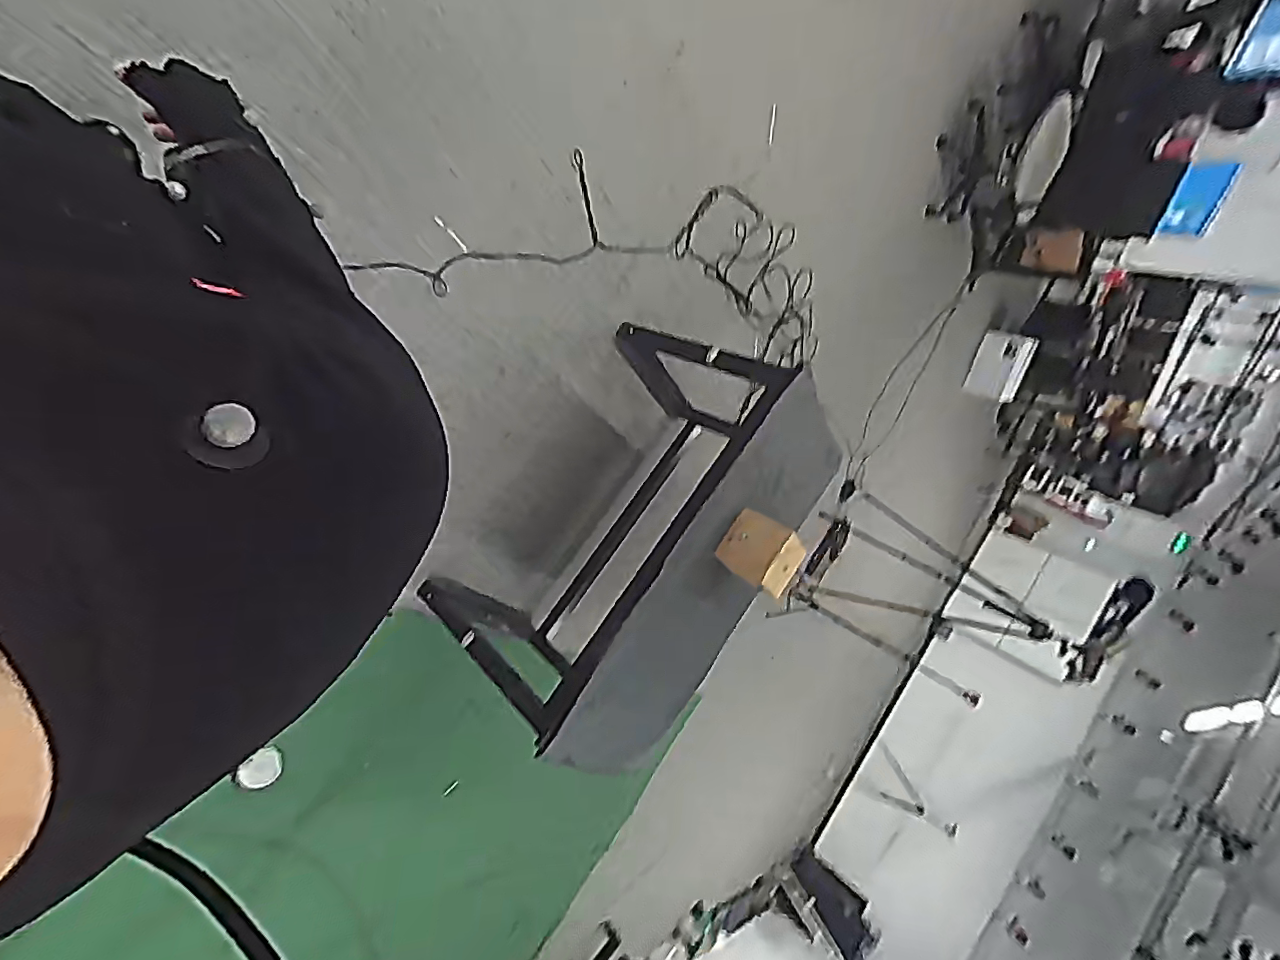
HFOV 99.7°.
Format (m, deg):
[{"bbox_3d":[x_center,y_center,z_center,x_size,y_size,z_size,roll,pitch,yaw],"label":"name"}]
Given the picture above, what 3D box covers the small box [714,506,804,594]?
[{"bbox_3d":[0.342,0.199,1.561,0.168,0.176,0.179,-55,141,-8],"label":"small box"}]
